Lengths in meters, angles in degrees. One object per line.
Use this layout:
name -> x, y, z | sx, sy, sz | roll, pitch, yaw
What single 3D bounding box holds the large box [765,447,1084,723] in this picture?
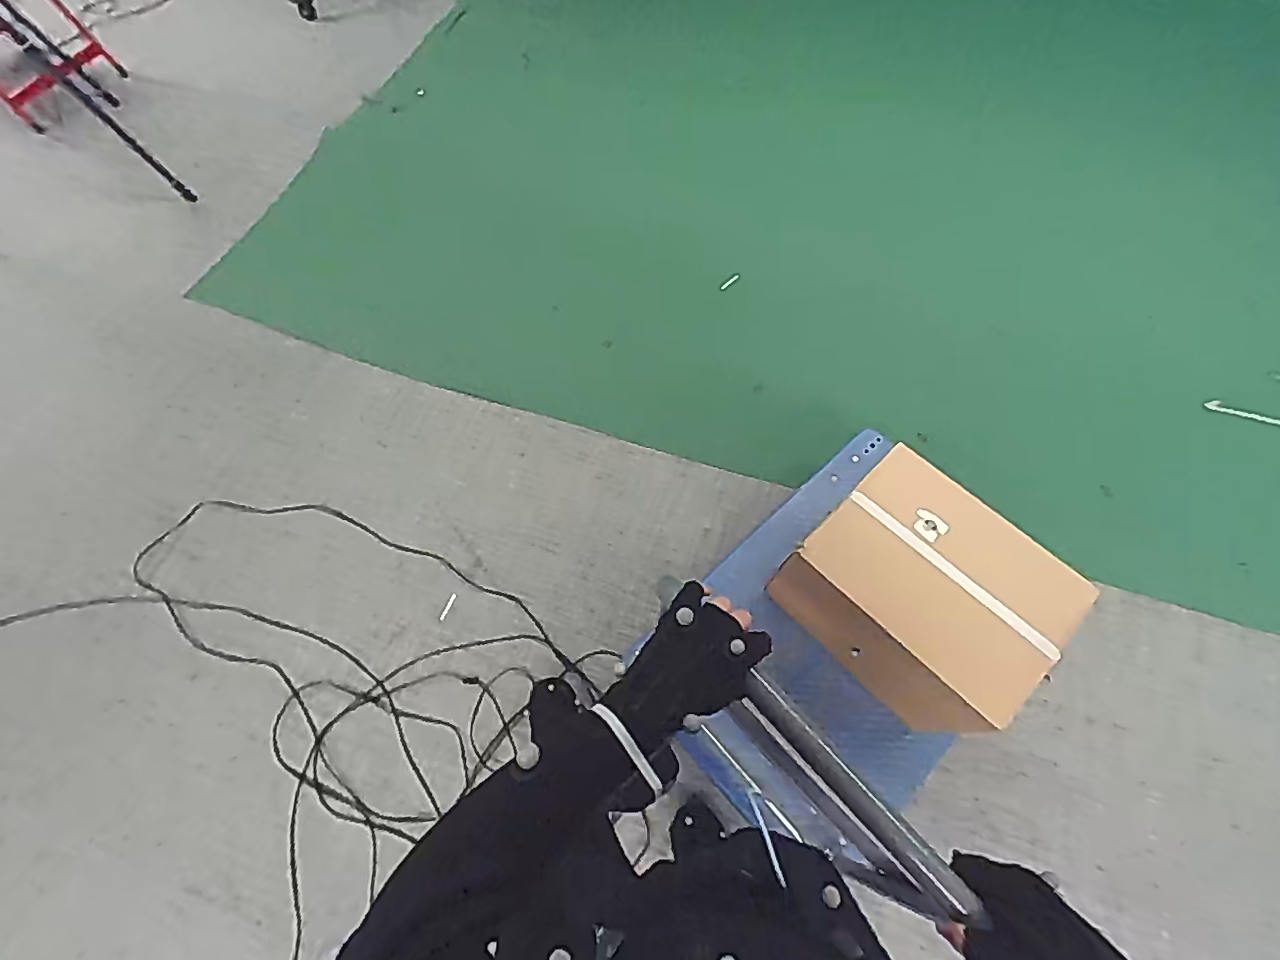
large box -> 0.521, 0.219, 1.078 | 0.320, 0.320, 0.408 | -41, 70, -16
